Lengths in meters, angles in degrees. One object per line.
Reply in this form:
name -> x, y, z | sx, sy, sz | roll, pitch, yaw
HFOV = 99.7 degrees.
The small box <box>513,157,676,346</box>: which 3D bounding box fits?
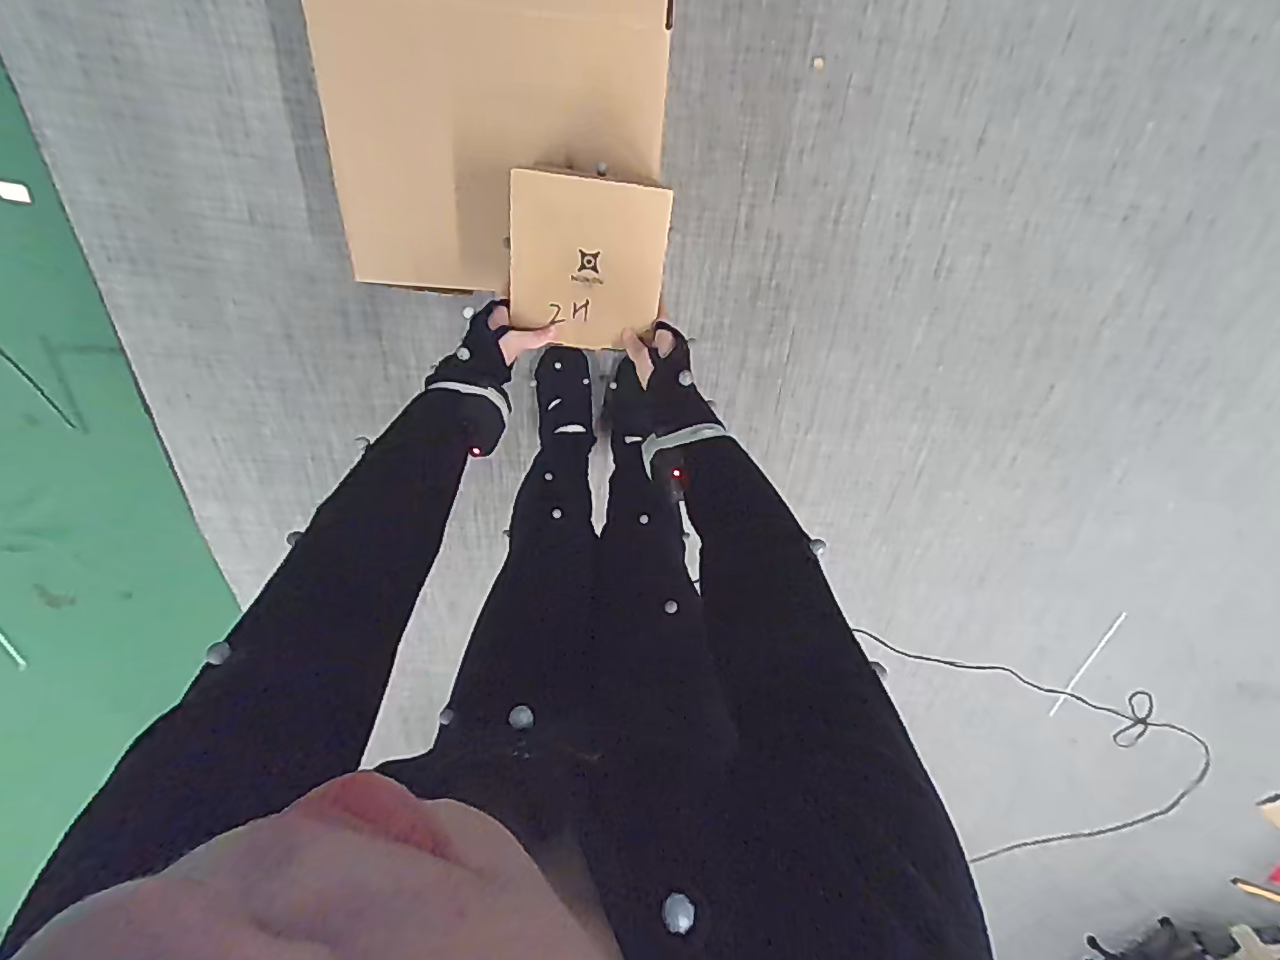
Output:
small box -> -0.059, -0.279, 0.651 | 0.168, 0.176, 0.179 | 4, 122, -6
